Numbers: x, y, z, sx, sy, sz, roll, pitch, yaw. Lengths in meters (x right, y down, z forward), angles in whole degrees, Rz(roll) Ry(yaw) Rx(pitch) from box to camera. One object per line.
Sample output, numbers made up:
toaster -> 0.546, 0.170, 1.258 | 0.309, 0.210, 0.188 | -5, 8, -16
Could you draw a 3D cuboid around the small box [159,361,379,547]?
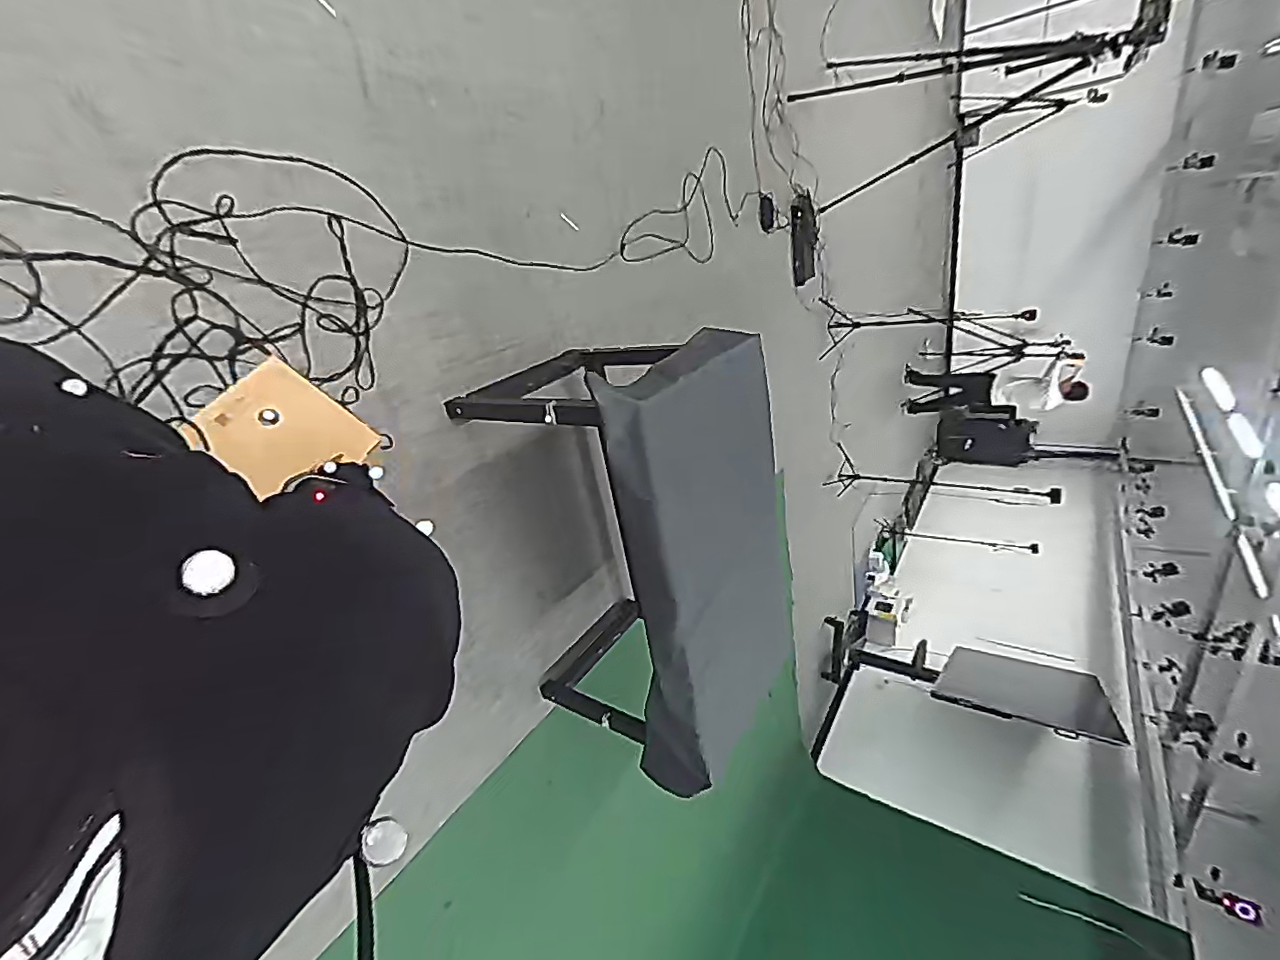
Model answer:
small box -> -0.496, -0.032, 0.734 | 0.176, 0.179, 0.168 | 42, 57, -19
